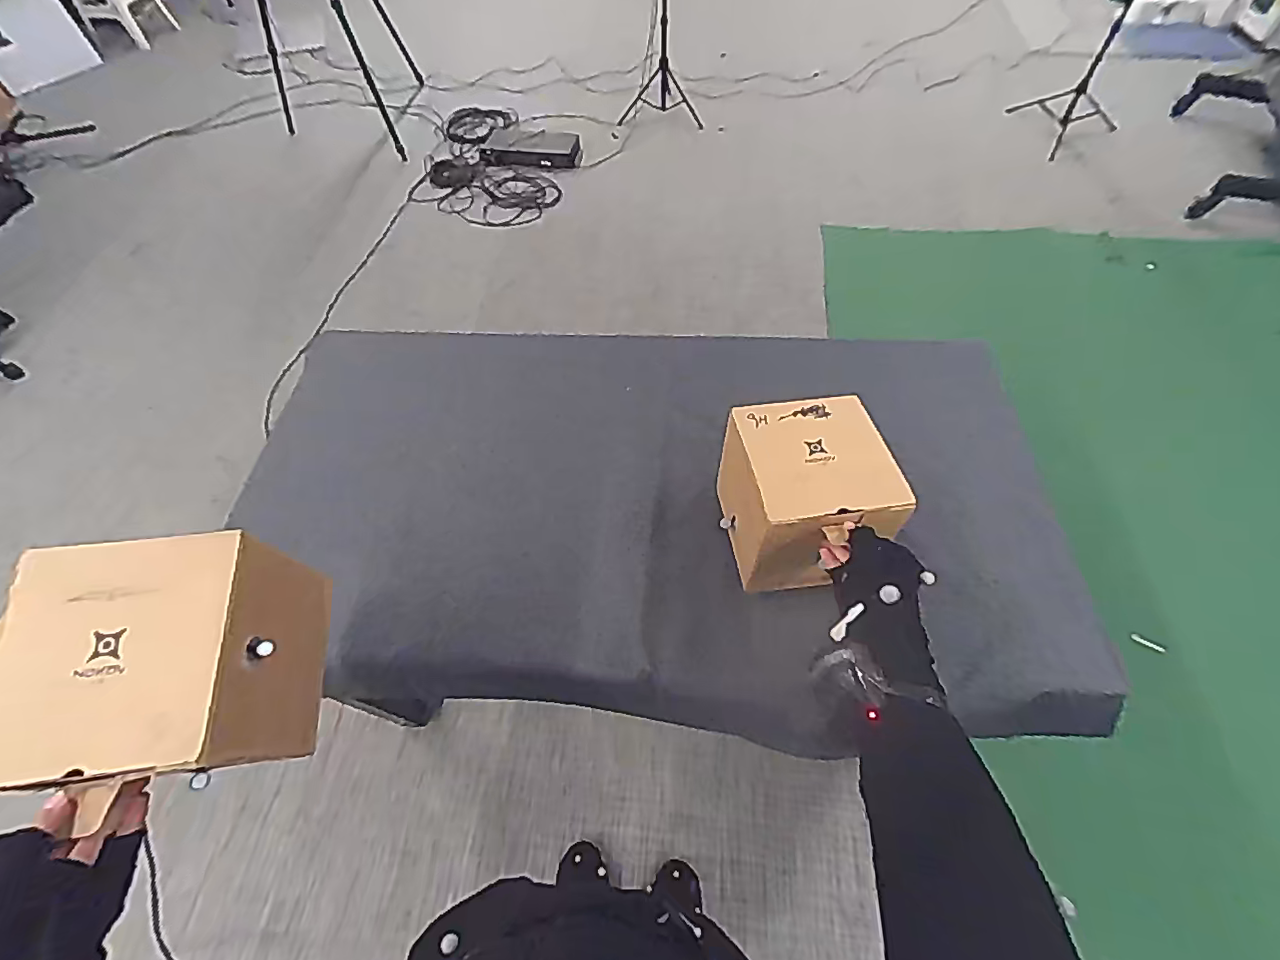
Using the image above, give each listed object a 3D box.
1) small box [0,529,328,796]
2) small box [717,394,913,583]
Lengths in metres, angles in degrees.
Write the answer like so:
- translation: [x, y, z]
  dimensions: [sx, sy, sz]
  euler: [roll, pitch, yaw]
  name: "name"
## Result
- translation: [-0.398, 0.158, 0.471]
  dimensions: [0.168, 0.176, 0.179]
  euler: [-6, 66, -7]
  name: "small box"
- translation: [0.201, 0.018, 0.682]
  dimensions: [0.168, 0.176, 0.179]
  euler: [-7, 54, -5]
  name: "small box"
